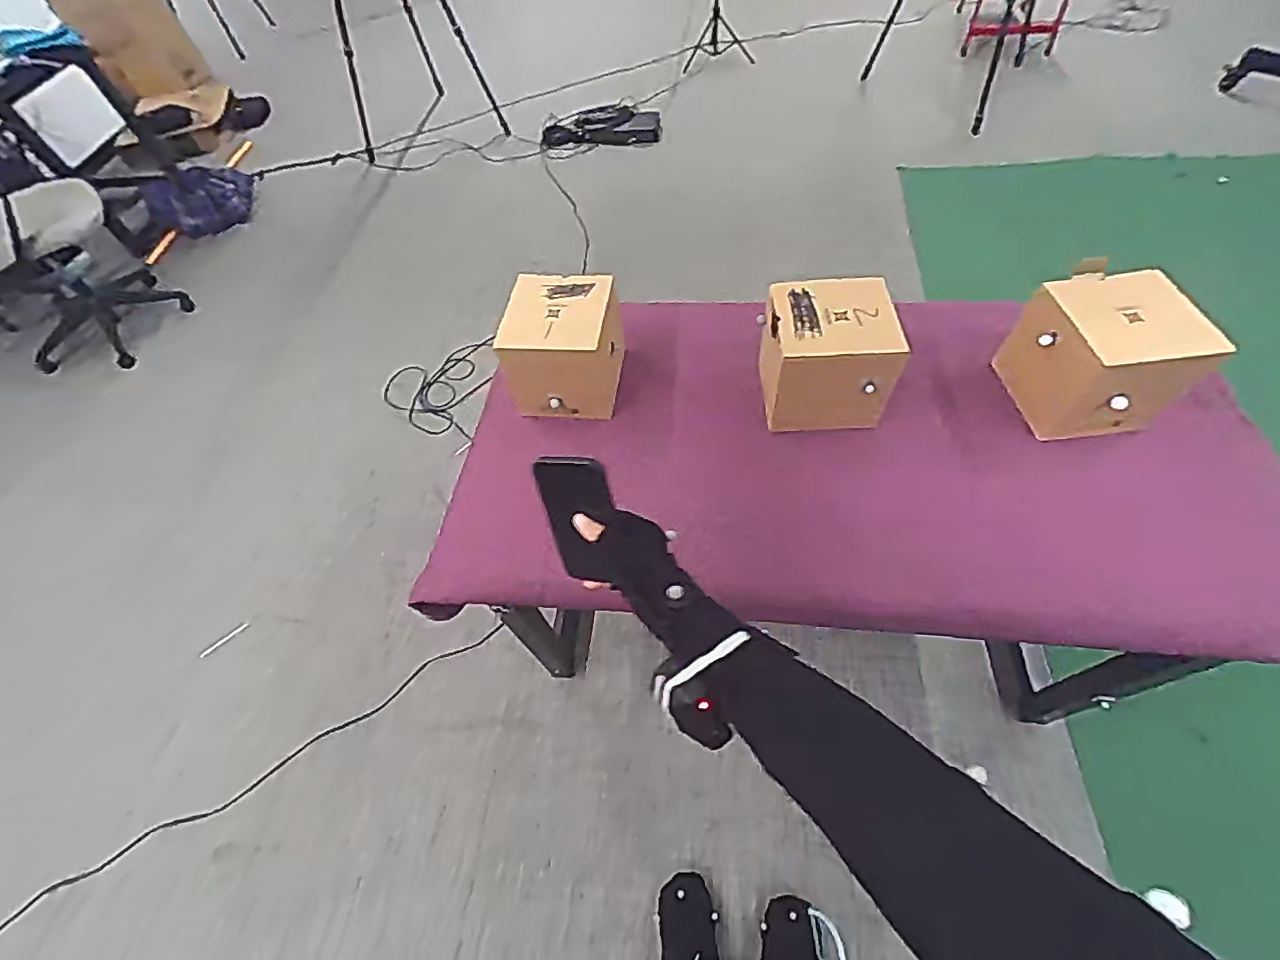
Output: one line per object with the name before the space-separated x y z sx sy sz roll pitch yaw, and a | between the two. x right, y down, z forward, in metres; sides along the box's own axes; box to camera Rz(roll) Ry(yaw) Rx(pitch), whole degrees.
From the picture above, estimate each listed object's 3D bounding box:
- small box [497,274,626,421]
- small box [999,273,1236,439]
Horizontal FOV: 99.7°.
small box | -0.121 -0.224 0.921 0.168 0.176 0.179 4 59 9
small box | 0.683 -0.174 0.804 0.168 0.176 0.179 -6 56 3
